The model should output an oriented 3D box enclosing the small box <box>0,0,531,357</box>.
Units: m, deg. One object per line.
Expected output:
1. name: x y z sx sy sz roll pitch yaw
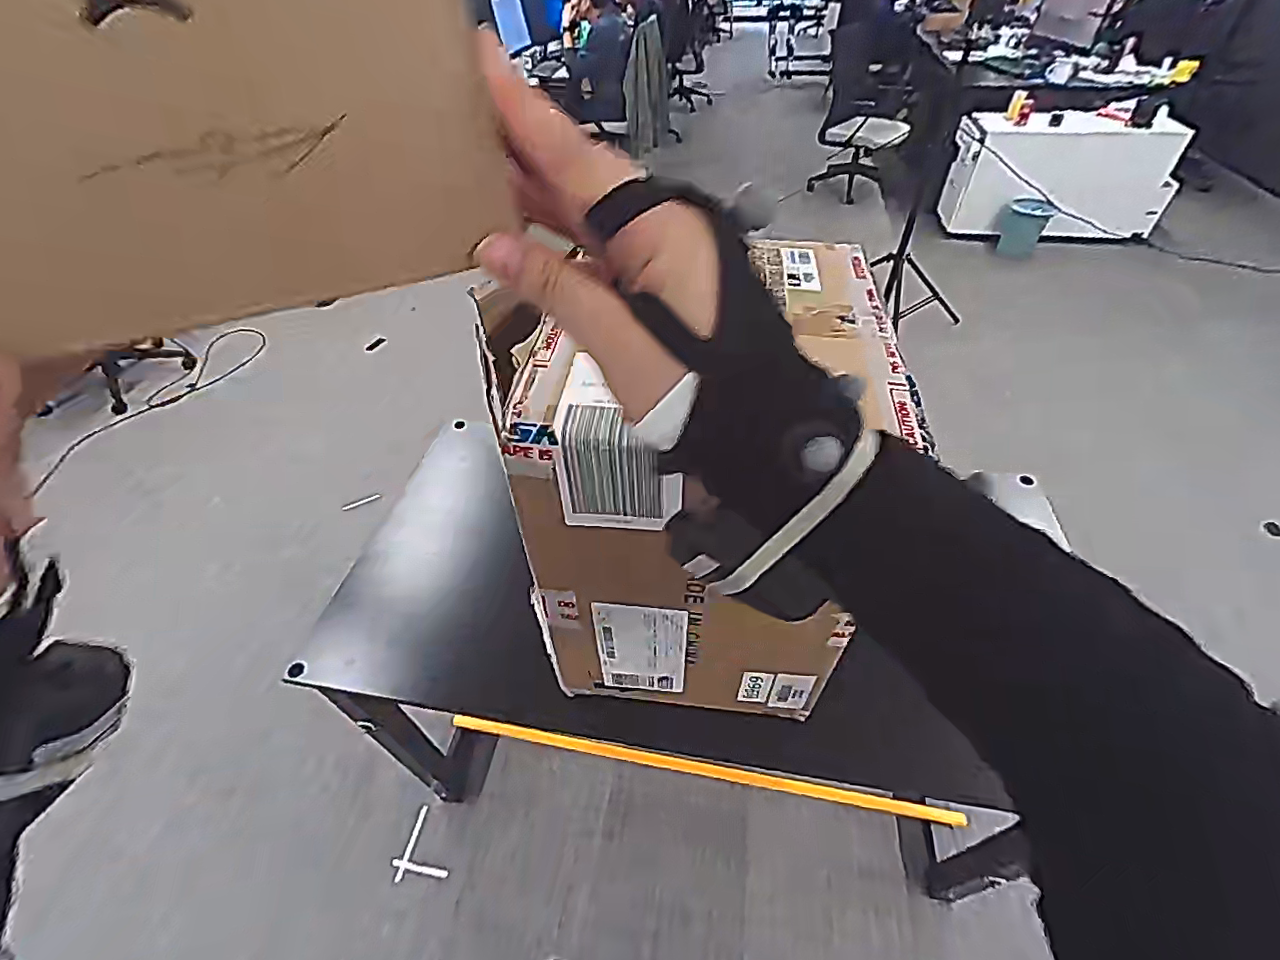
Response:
1. small box: -0.153 -0.167 0.206 0.168 0.179 0.176 -17 31 -12
